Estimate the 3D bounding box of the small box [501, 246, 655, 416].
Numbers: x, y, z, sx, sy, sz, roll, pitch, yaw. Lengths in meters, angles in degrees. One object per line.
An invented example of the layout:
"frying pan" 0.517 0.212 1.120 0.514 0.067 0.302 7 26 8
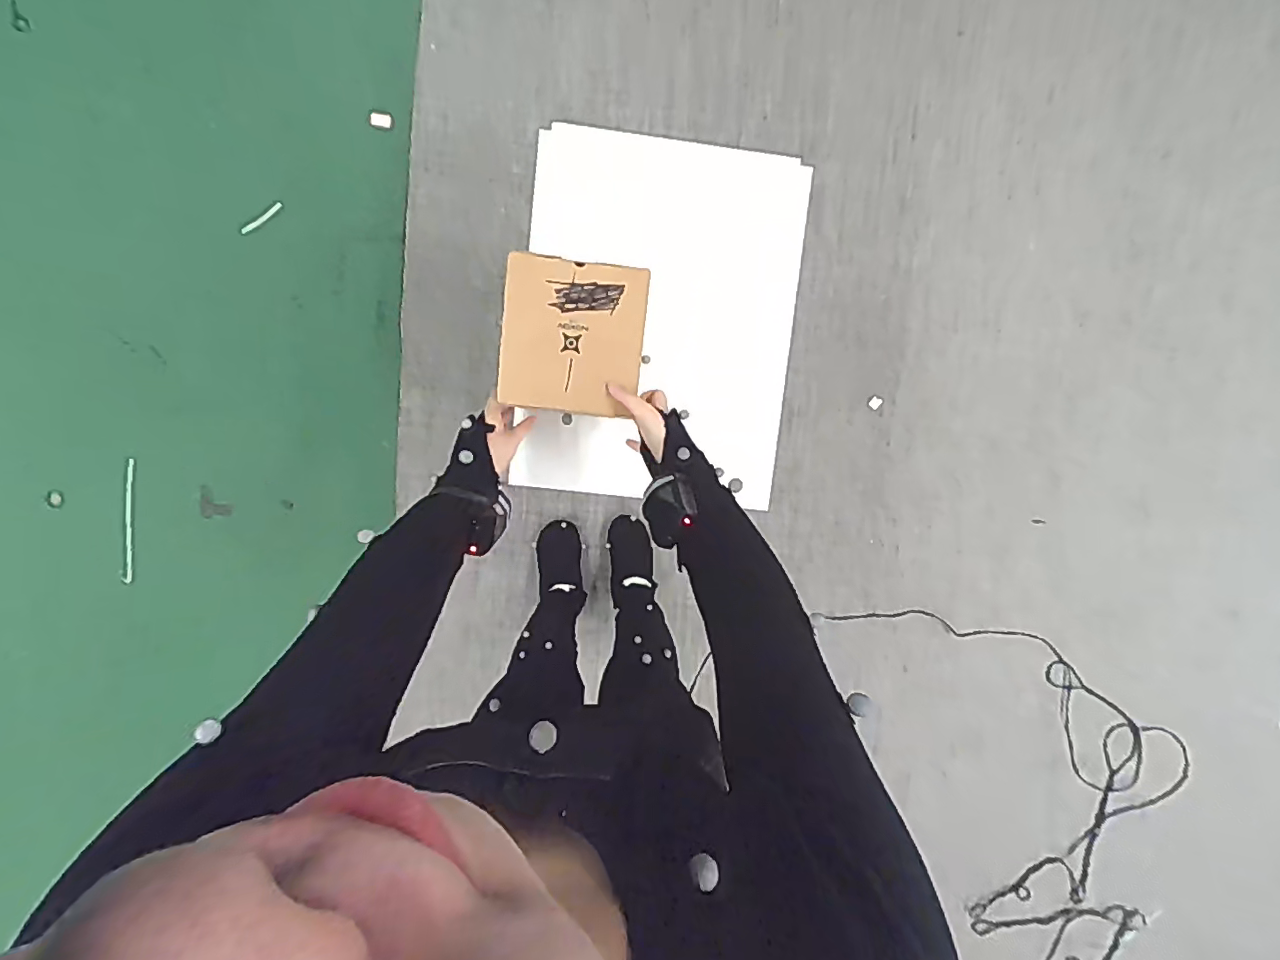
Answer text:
"small box" -0.078 -0.181 0.709 0.168 0.176 0.179 6 96 -4
